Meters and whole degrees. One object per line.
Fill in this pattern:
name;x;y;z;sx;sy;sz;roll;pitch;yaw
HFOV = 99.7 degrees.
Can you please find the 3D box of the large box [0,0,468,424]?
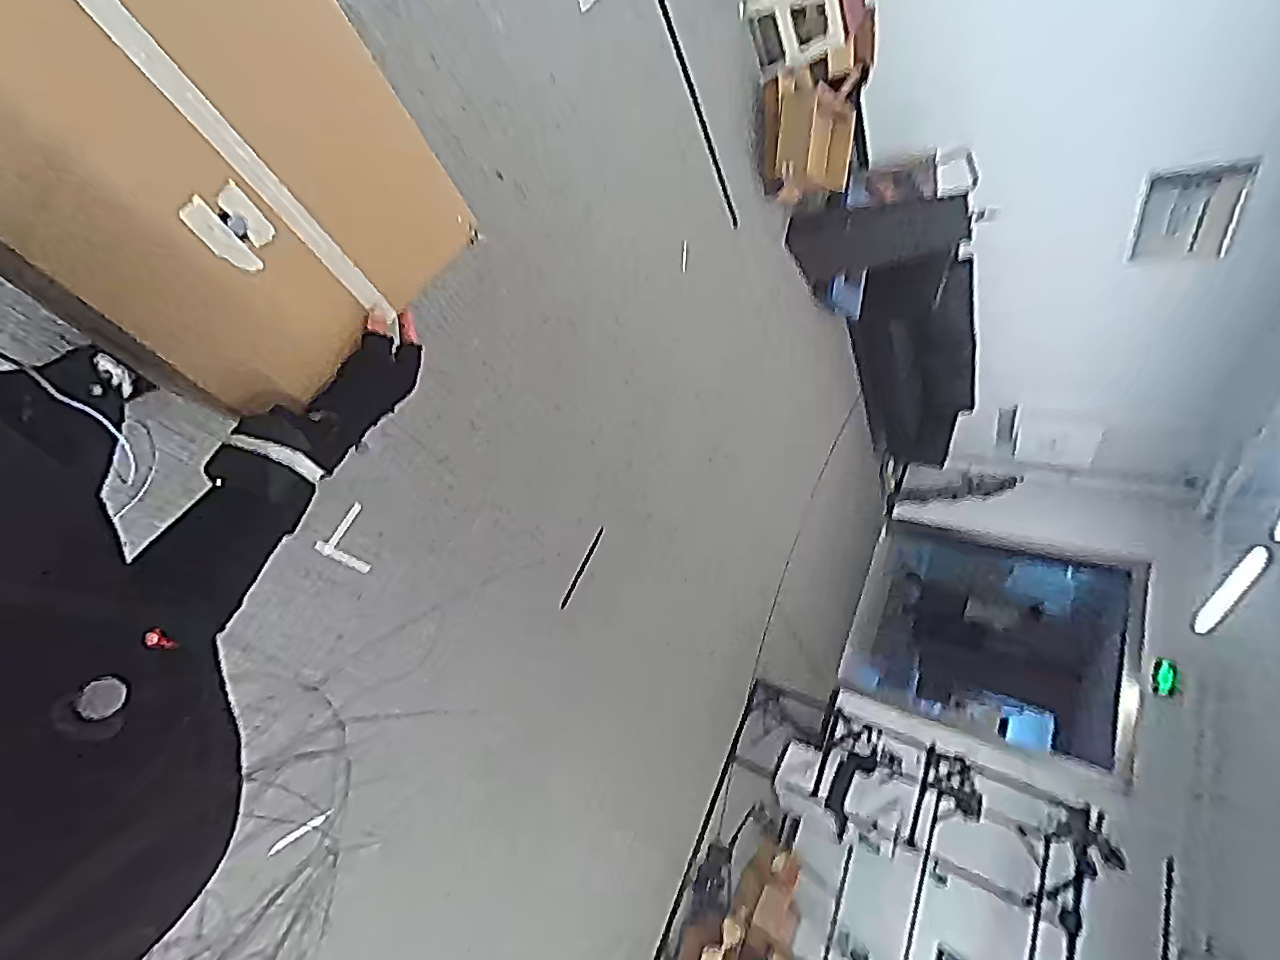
large box;-0.458;-0.312;0.494;0.320;0.320;0.408;-58;143;-21
